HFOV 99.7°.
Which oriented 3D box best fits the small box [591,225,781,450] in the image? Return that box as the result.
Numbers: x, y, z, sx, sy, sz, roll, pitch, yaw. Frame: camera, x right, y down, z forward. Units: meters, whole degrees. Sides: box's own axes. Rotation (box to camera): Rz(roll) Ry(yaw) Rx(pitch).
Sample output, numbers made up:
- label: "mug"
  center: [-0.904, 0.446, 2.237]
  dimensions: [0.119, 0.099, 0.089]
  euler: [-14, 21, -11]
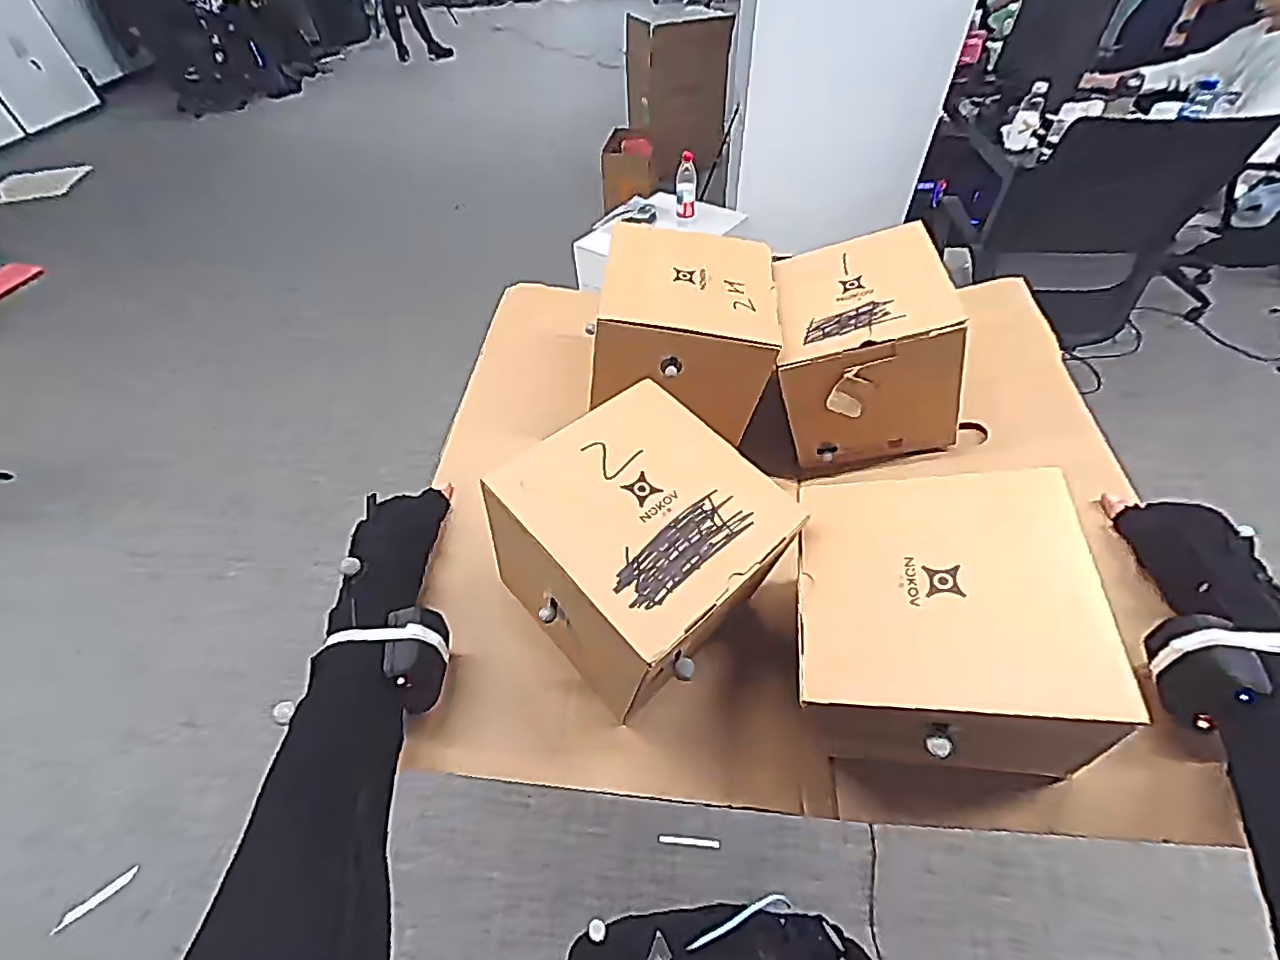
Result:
- label: "small box"
  center: [0.042, -0.151, 0.606]
  dimensions: [0.179, 0.176, 0.168]
  euler: [8, 55, -3]
